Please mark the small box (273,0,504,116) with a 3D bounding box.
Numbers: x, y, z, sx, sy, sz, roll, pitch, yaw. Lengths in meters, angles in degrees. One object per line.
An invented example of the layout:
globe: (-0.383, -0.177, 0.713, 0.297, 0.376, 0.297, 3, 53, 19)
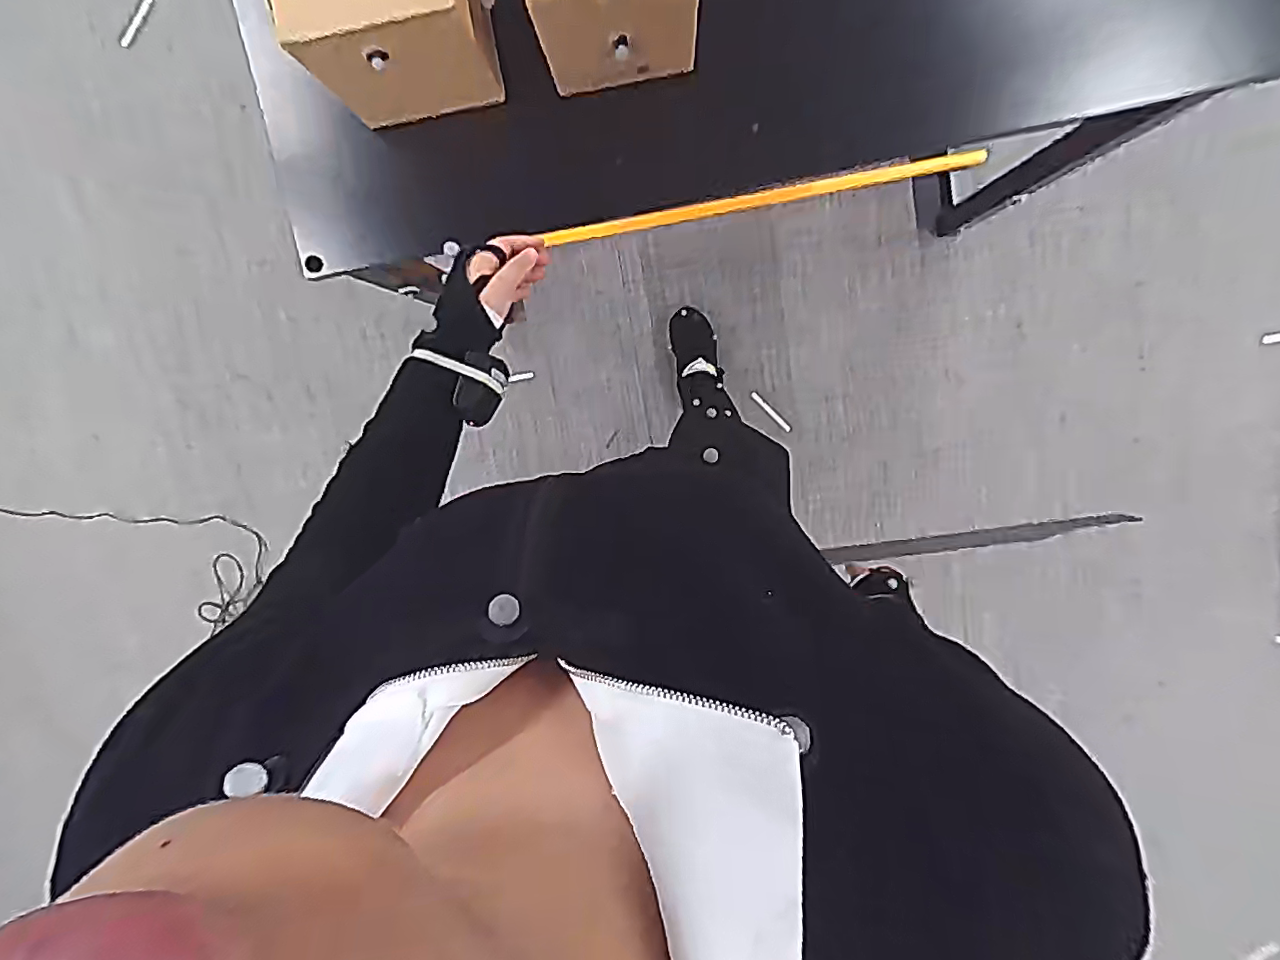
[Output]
small box: (-0.264, -0.522, 0.574, 0.179, 0.176, 0.168, -9, 100, 4)
